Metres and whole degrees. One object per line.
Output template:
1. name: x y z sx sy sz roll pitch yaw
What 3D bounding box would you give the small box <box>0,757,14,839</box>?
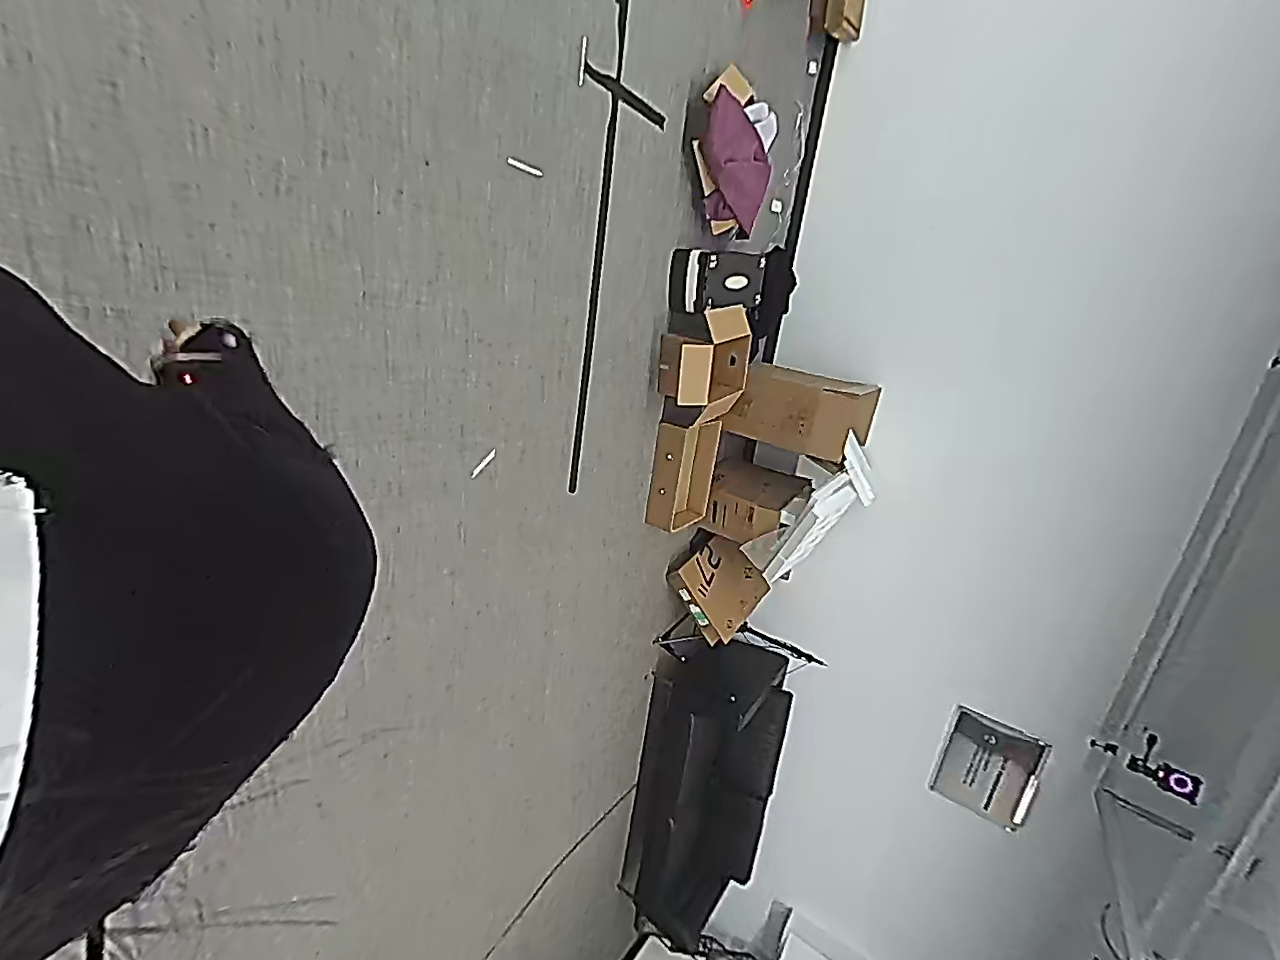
1. small box: -0.890 0.355 0.636 0.168 0.176 0.179 -16 116 -56
